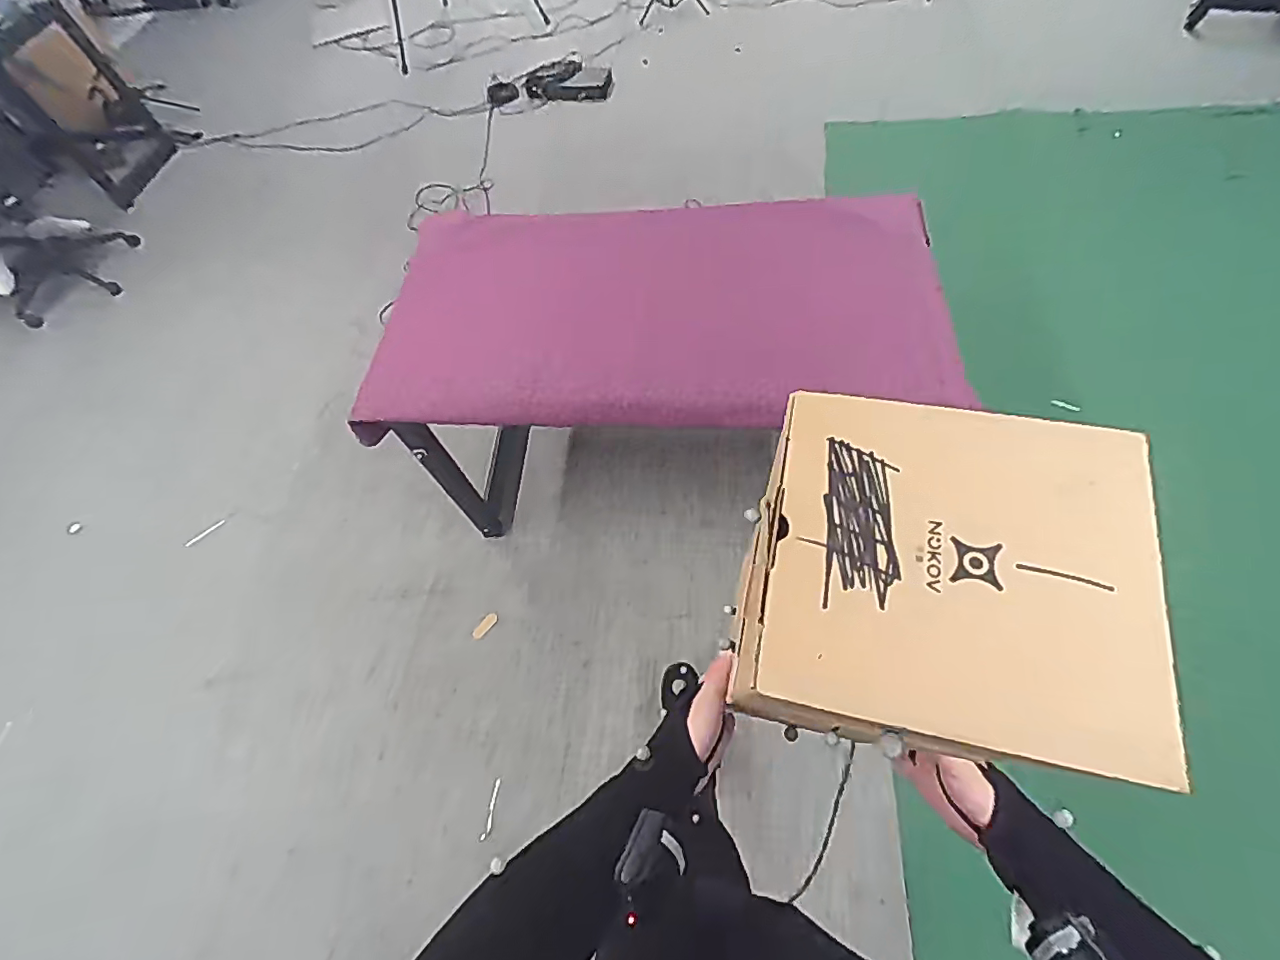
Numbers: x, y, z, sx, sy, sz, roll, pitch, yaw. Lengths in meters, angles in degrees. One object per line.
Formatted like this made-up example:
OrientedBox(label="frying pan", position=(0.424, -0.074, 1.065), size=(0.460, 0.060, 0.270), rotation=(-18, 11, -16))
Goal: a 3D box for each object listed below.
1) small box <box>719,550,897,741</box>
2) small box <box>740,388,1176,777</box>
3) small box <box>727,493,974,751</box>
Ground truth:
OrientedBox(label="small box", position=(0.194, 0.194, 0.636), size=(0.179, 0.176, 0.168), rotation=(9, 68, 10))
OrientedBox(label="small box", position=(0.162, 0.065, 0.337), size=(0.179, 0.176, 0.168), rotation=(10, 70, 11))
OrientedBox(label="small box", position=(0.178, 0.129, 0.487), size=(0.179, 0.176, 0.168), rotation=(11, 70, 11))
